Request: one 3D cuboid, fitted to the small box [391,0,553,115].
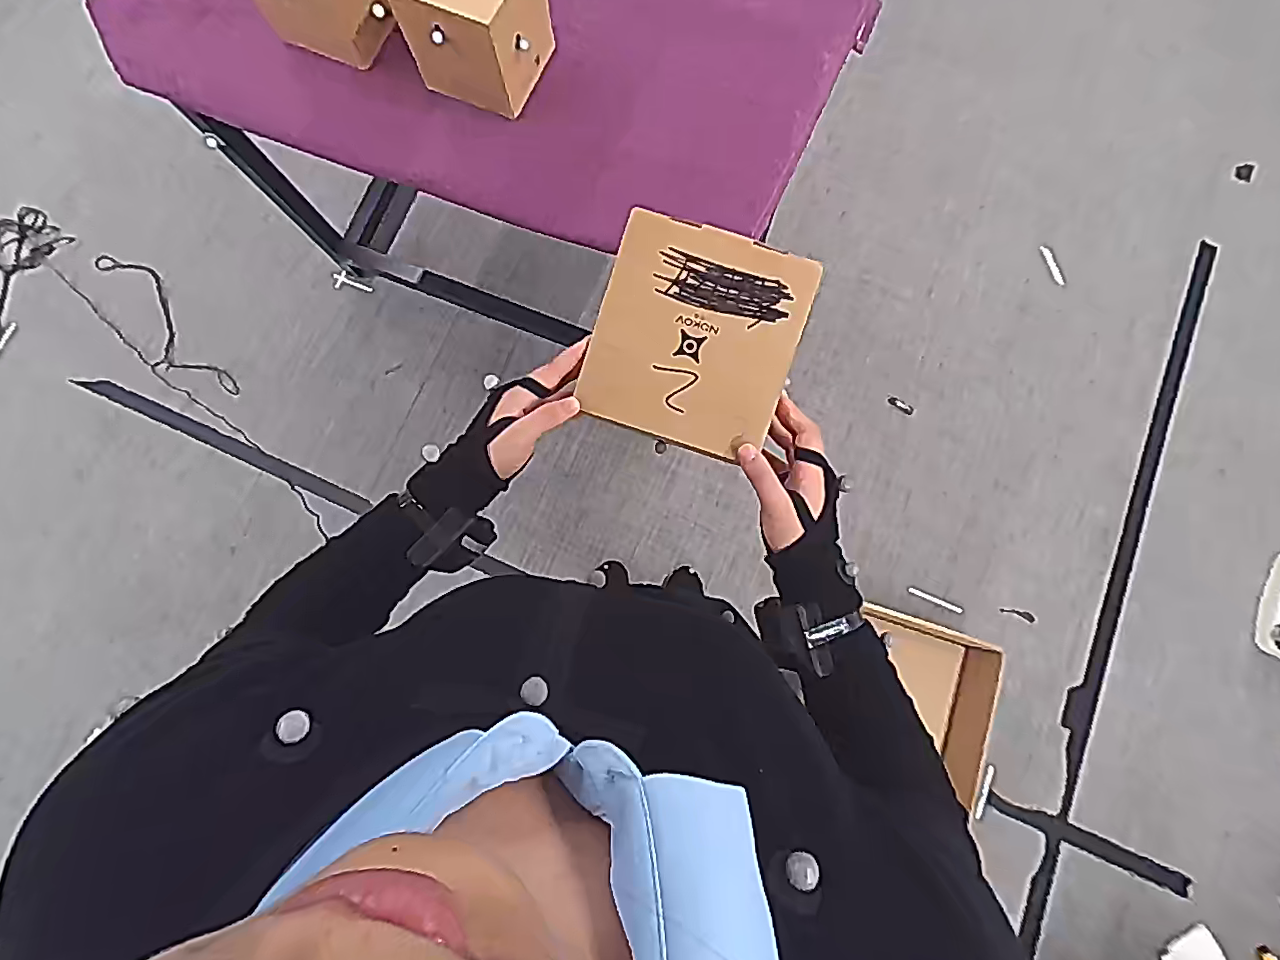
[{"bbox_3d":[-0.256,-0.733,0.864,0.179,0.176,0.168,23,81,4],"label":"small box"}]

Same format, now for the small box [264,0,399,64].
[{"bbox_3d":[-0.521,-0.835,0.884,0.179,0.176,0.168,23,82,4],"label":"small box"}]
